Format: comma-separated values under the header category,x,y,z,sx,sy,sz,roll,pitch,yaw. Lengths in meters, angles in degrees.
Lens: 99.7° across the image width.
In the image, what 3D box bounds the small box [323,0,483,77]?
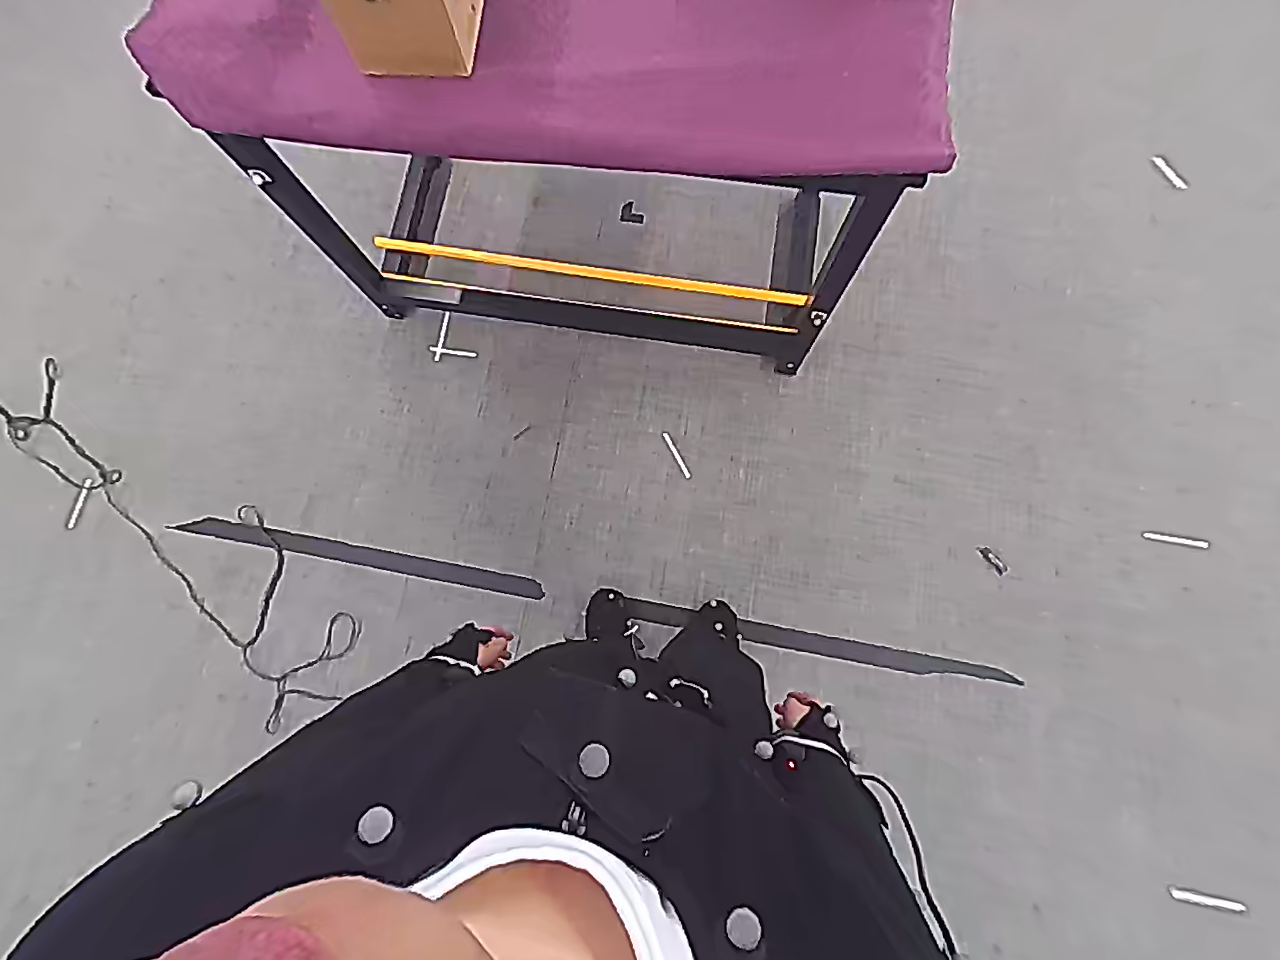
category,x,y,z,sx,sy,sz,roll,pitch,yaw
small box,-0.340,-0.719,0.774,0.179,0.176,0.168,3,77,3
